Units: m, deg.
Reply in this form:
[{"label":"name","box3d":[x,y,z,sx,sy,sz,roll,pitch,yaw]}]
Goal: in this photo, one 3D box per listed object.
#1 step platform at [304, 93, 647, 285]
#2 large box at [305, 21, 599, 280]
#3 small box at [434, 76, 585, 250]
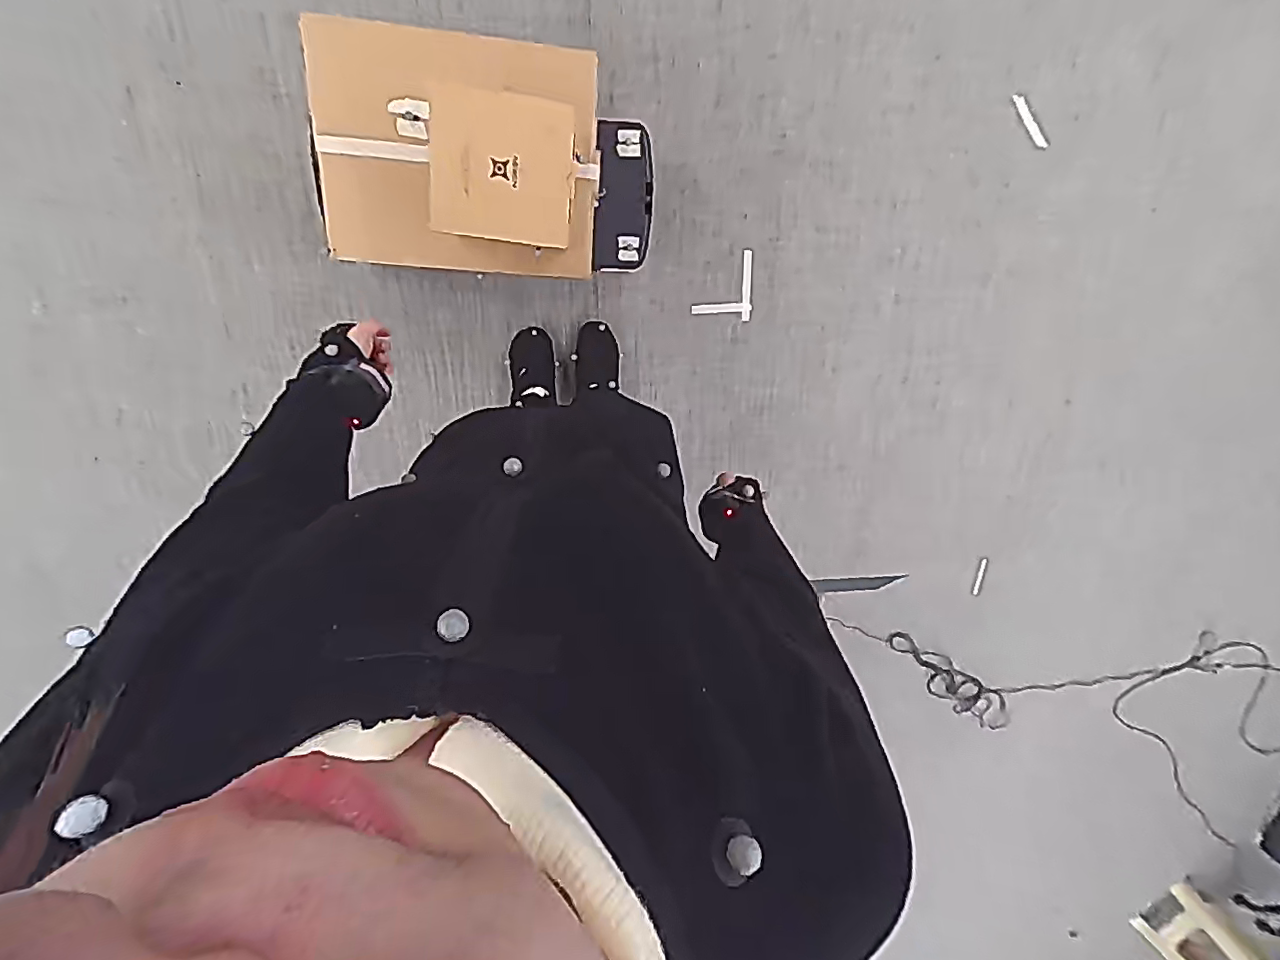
[{"label":"step platform","box3d":[-0.326,-0.604,1.161,0.684,0.204,0.286,4,111,-8]},{"label":"large box","box3d":[-0.277,-0.528,0.939,0.408,0.320,0.320,2,111,-7]},{"label":"small box","box3d":[-0.171,-0.412,0.733,0.179,0.176,0.168,4,111,-9]}]
